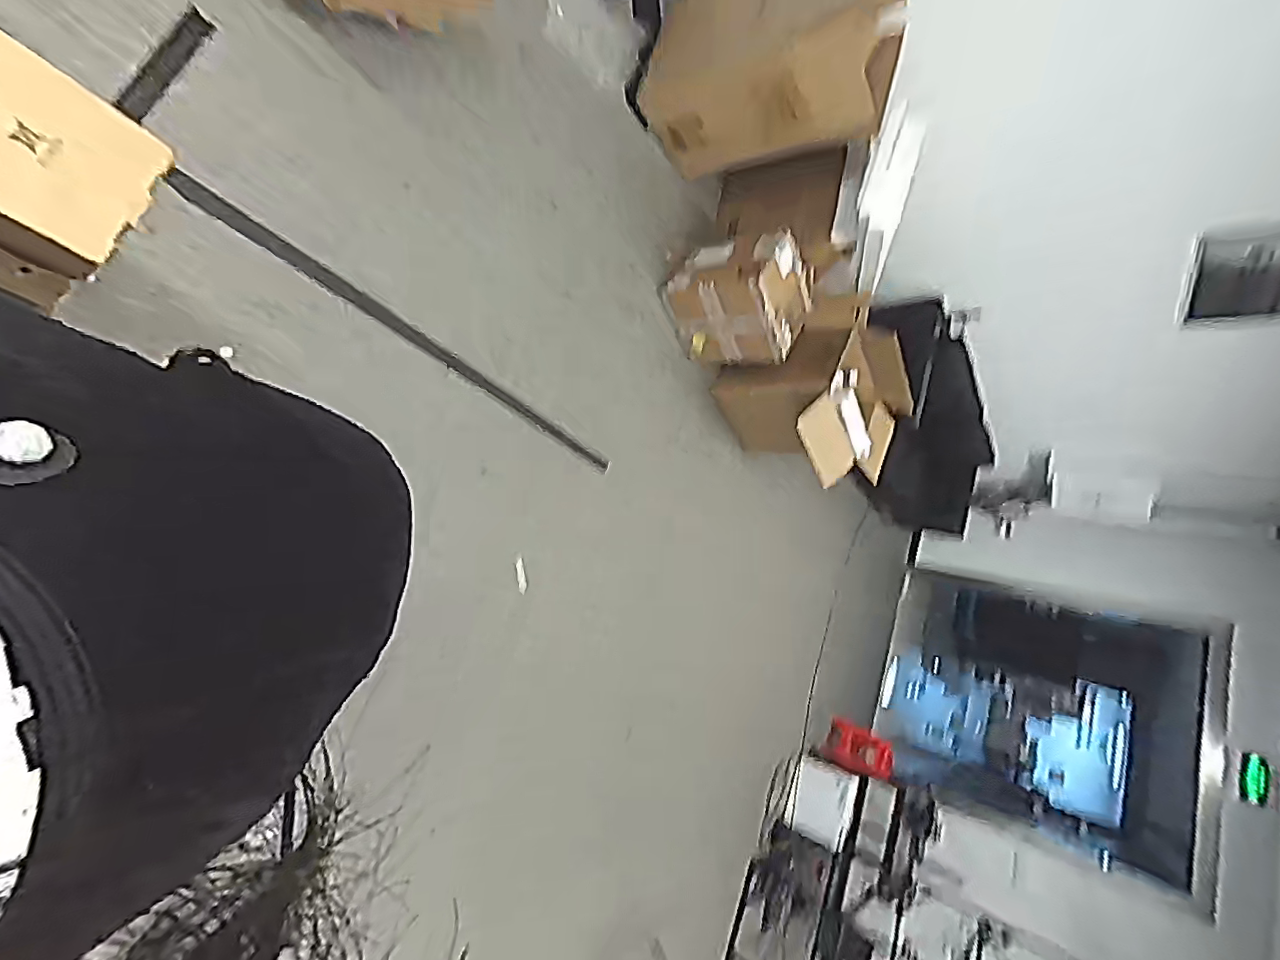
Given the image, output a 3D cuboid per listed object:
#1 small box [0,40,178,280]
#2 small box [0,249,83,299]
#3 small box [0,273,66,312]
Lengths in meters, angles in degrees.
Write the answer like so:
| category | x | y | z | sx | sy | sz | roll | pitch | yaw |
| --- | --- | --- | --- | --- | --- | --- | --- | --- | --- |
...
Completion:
| category | x | y | z | sx | sy | sz | roll | pitch | yaw |
| --- | --- | --- | --- | --- | --- | --- | --- | --- | --- |
| small box | -0.695 | -0.351 | 0.623 | 0.179 | 0.176 | 0.168 | 36 | 69 | -48 |
| small box | -0.823 | -0.365 | 0.724 | 0.168 | 0.176 | 0.179 | 36 | 68 | -48 |
| small box | -0.949 | -0.380 | 0.825 | 0.168 | 0.176 | 0.179 | 36 | 69 | -46 |
